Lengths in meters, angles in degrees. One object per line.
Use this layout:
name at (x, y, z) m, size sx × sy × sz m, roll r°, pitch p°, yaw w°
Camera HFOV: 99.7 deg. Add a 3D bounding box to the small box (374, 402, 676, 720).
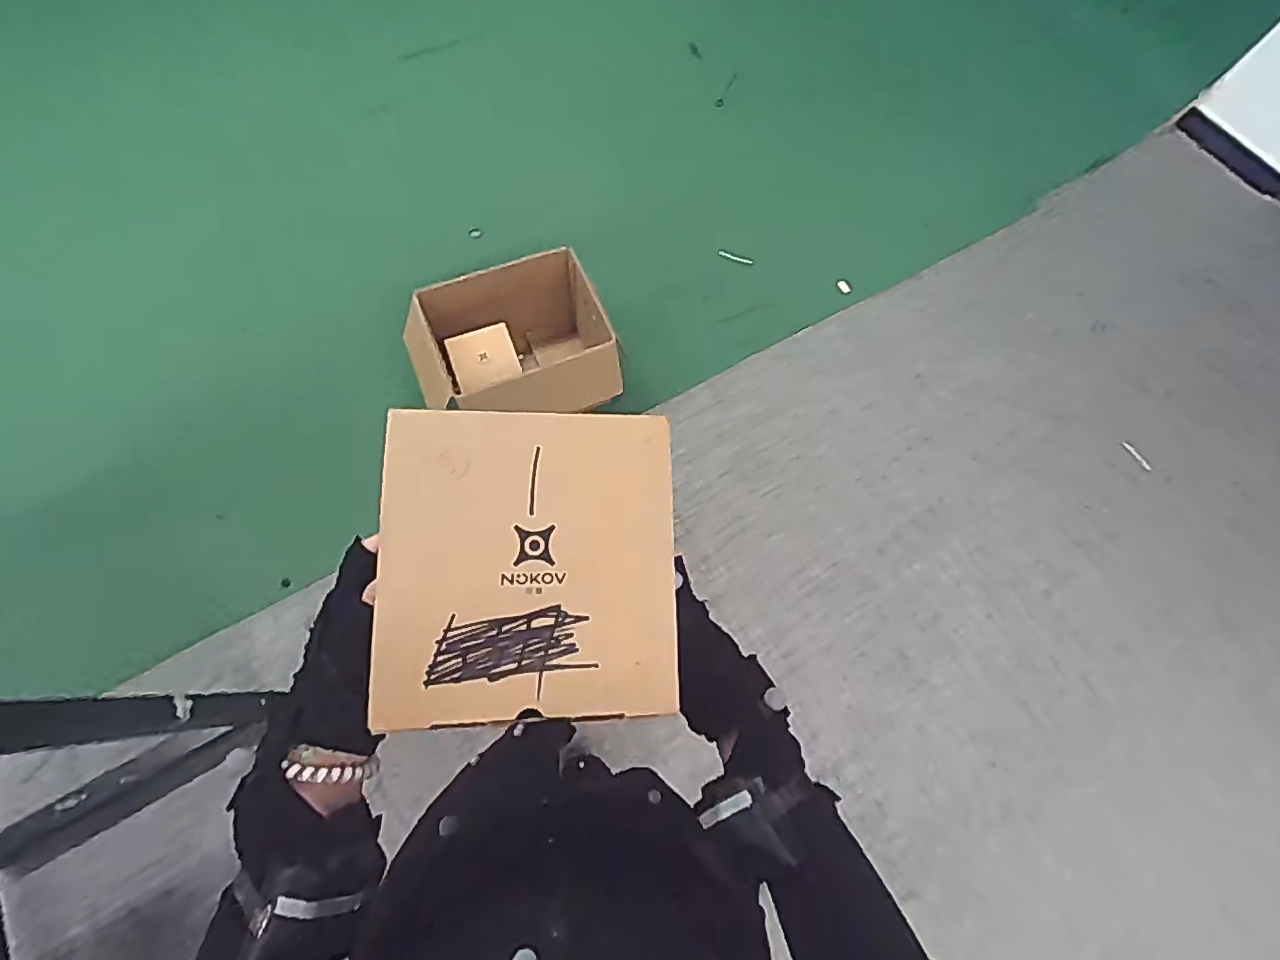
small box at (-0.071, 0.055, 0.385) m, size 0.168 × 0.176 × 0.179 m, roll 1°, pitch 80°, yaw -9°
